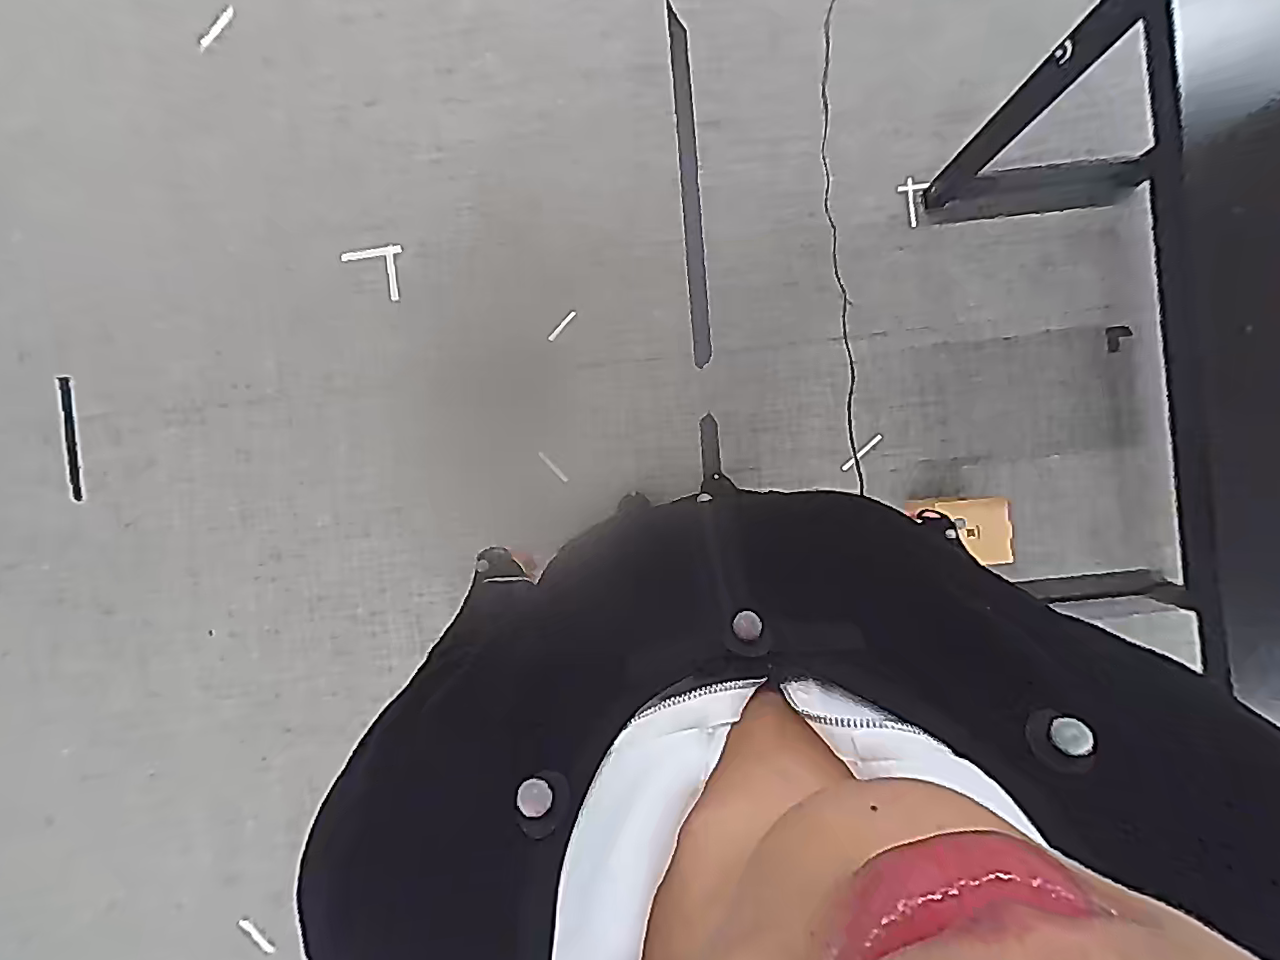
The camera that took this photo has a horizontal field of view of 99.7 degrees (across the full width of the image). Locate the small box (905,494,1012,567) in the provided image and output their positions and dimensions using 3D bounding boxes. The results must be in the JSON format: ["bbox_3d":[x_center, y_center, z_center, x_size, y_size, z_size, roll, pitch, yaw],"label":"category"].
[{"bbox_3d":[0.817,0.125,1.399,0.179,0.176,0.168,-6,89,1],"label":"small box"}]
